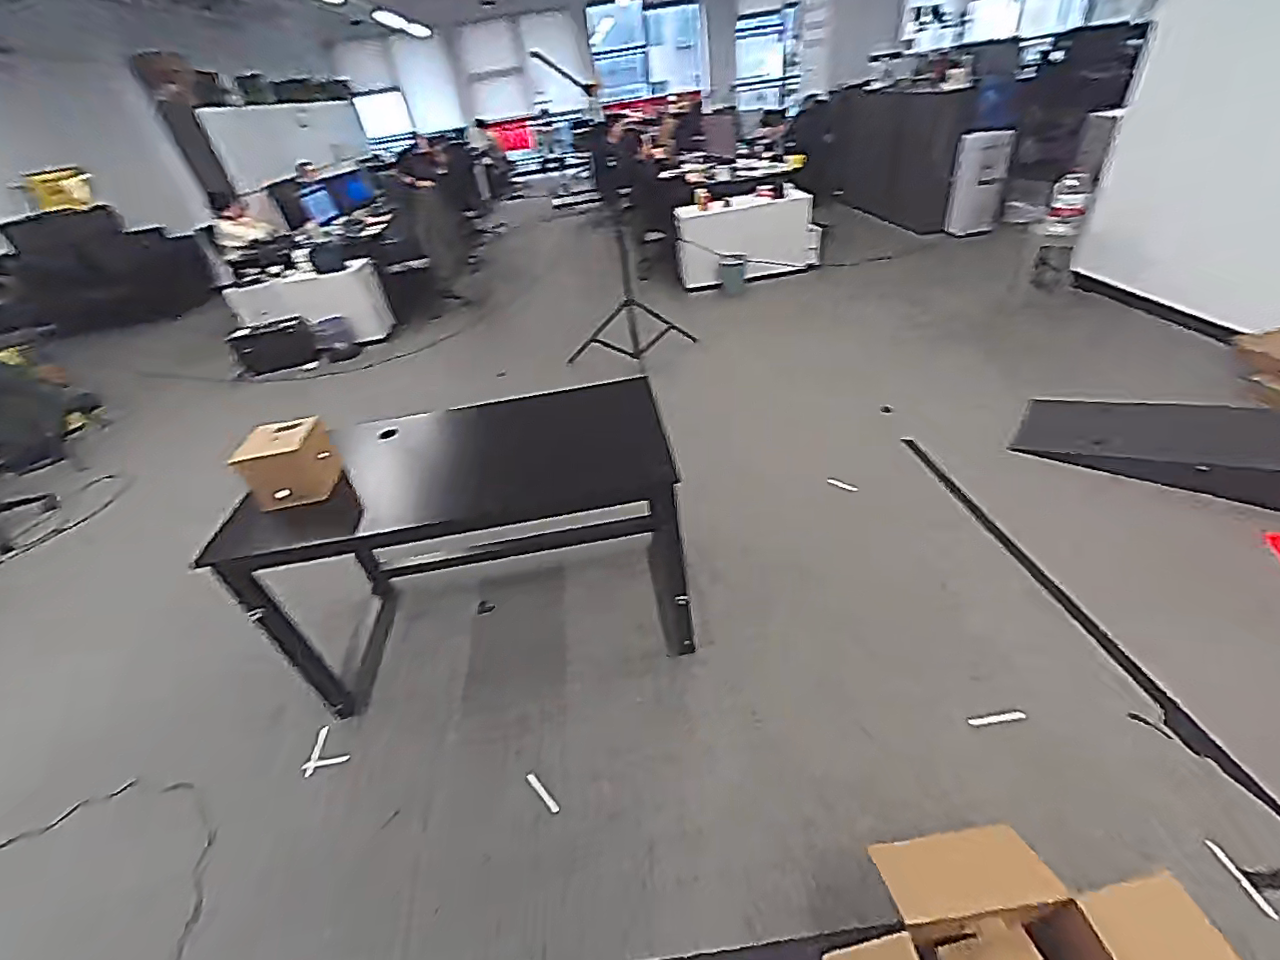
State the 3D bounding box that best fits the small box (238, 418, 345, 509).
[{"bbox_3d":[-0.943,-0.045,1.485,0.168,0.176,0.179,-11,37,-3],"label":"small box"}]
